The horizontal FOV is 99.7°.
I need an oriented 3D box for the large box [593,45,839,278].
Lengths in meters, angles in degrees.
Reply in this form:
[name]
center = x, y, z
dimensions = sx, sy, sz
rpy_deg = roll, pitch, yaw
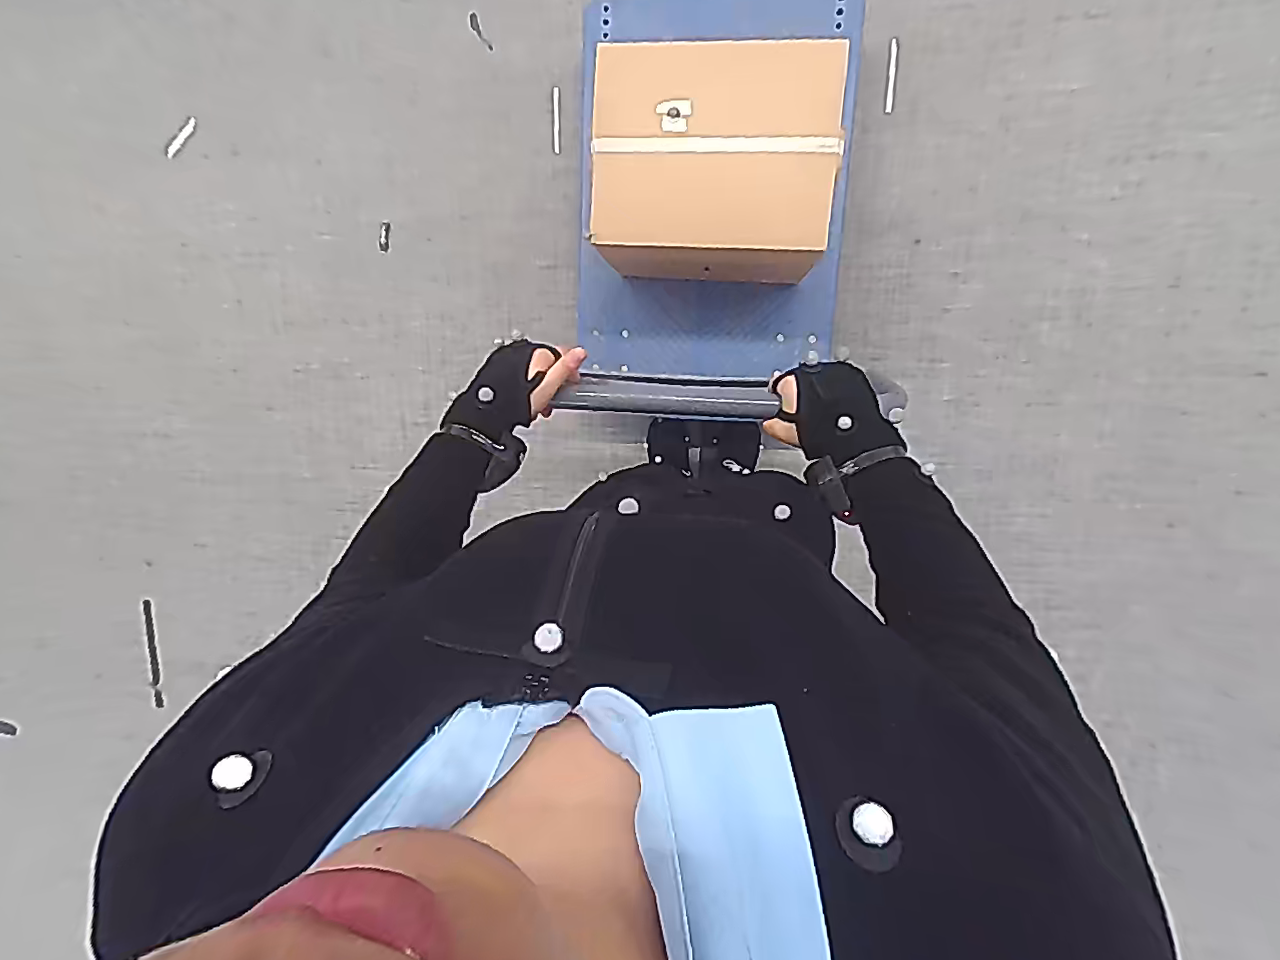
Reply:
[large box]
center = 0.142, -0.582, 1.059
dimensions = 0.408, 0.320, 0.320
rpy_deg = 4, 100, 8
